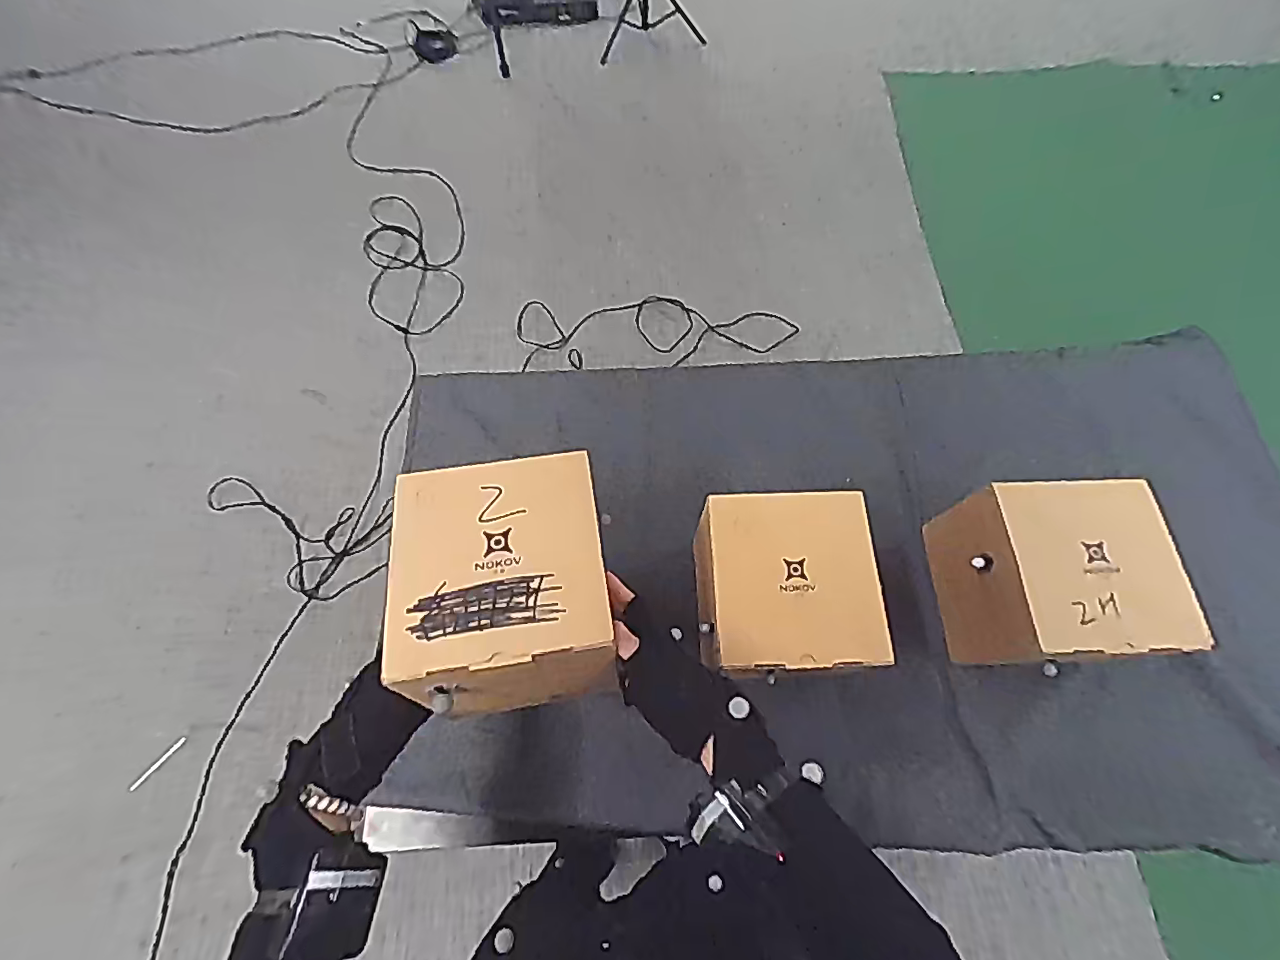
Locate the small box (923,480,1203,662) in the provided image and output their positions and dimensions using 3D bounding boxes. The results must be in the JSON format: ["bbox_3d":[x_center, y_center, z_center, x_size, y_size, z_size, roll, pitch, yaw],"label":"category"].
[{"bbox_3d":[0.454,0.111,0.619,0.168,0.176,0.179,-1,69,0],"label":"small box"}]
